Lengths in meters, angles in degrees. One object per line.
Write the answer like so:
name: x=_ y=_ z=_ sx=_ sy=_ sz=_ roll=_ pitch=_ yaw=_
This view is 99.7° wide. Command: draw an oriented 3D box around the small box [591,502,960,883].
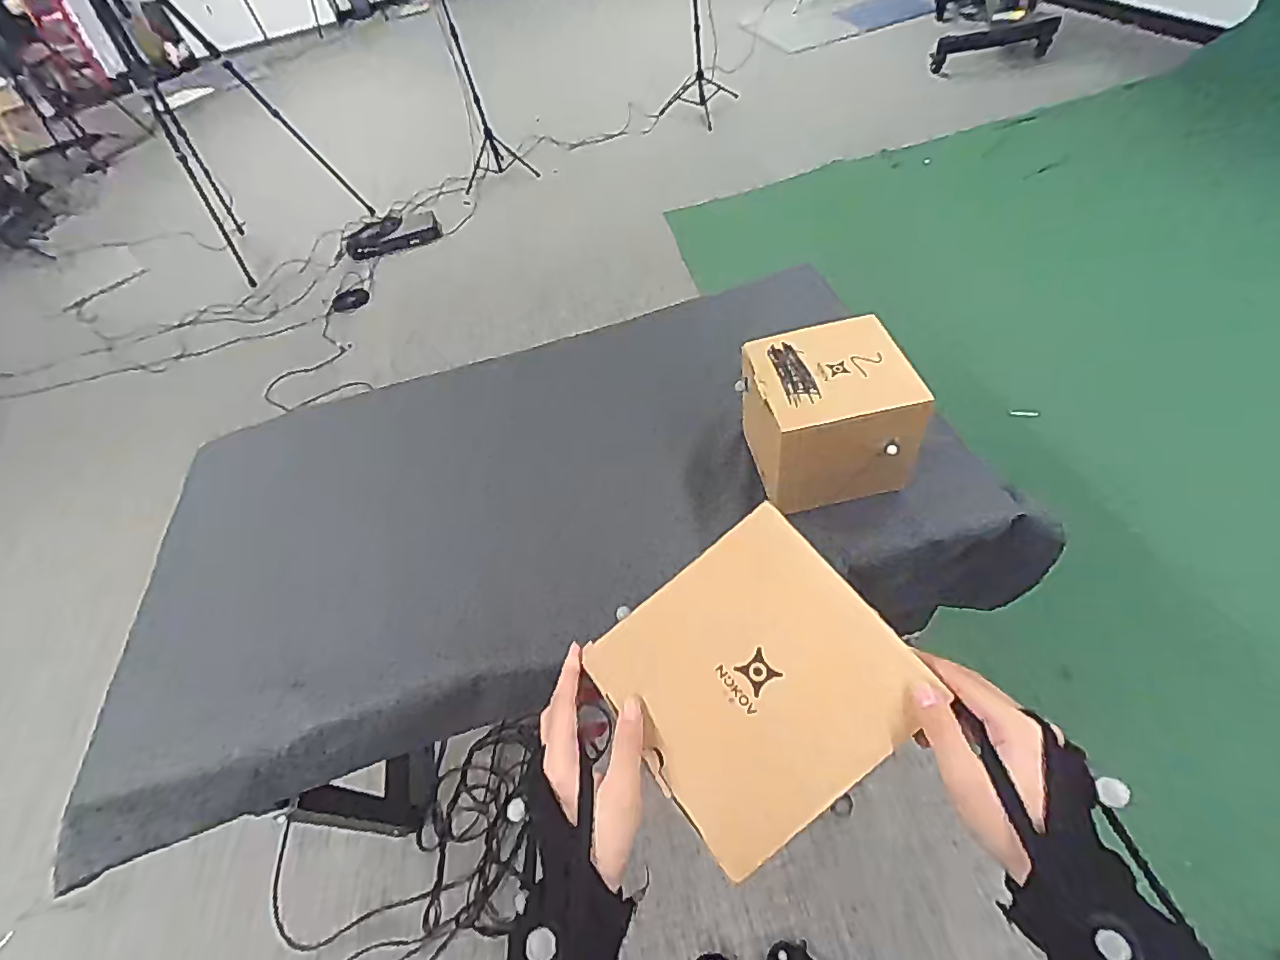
small box: x=0.094 y=0.149 z=0.421 sx=0.179 sy=0.176 sz=0.168 roll=-40 pitch=68 yaw=-1
